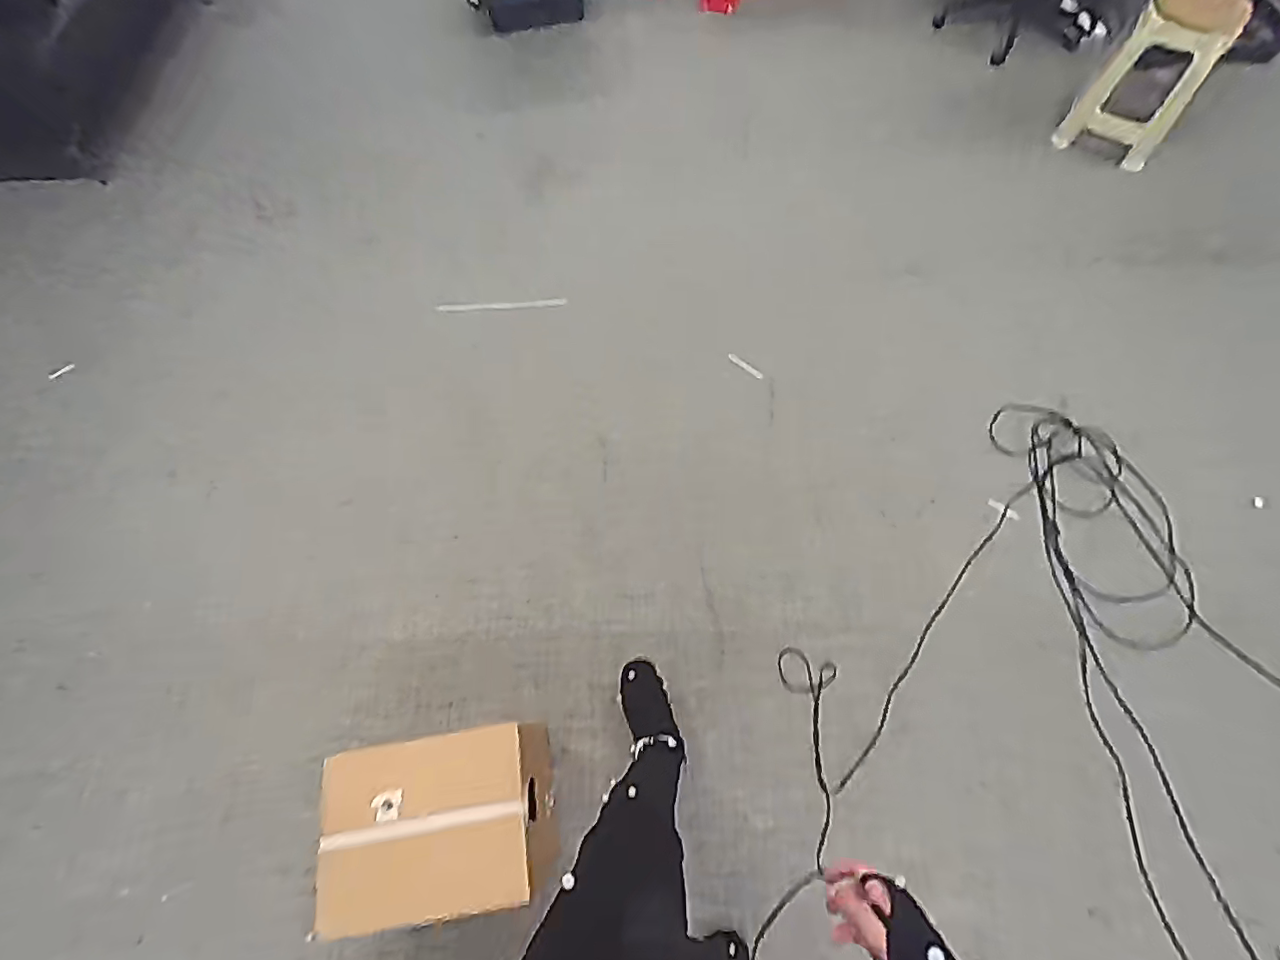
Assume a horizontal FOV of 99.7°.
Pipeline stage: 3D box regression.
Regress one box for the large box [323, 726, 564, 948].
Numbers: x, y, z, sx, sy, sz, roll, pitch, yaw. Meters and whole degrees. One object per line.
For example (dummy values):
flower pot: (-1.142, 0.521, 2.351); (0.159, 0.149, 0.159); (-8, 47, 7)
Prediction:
large box: (-0.408, 0.750, 1.197); (0.408, 0.320, 0.320); (-10, 65, -1)
